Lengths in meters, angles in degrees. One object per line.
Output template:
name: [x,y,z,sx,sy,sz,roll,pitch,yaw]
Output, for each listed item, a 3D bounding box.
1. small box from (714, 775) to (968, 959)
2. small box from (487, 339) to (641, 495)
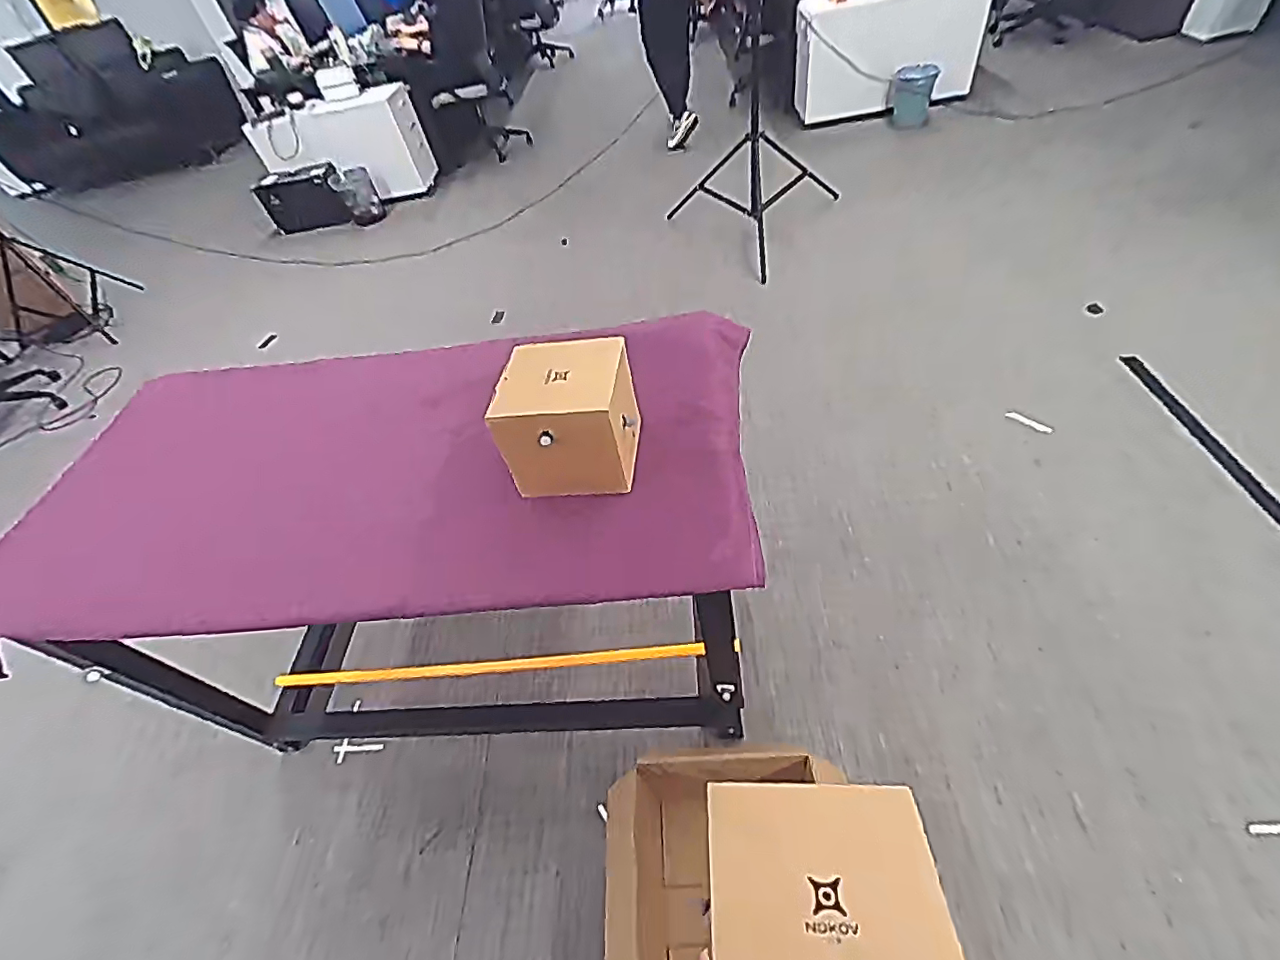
small box: [0.142,0.364,0.426,0.168,0.176,0.179,-3,36,8]
small box: [-0.100,-0.090,0.821,0.179,0.176,0.168,-2,48,11]
